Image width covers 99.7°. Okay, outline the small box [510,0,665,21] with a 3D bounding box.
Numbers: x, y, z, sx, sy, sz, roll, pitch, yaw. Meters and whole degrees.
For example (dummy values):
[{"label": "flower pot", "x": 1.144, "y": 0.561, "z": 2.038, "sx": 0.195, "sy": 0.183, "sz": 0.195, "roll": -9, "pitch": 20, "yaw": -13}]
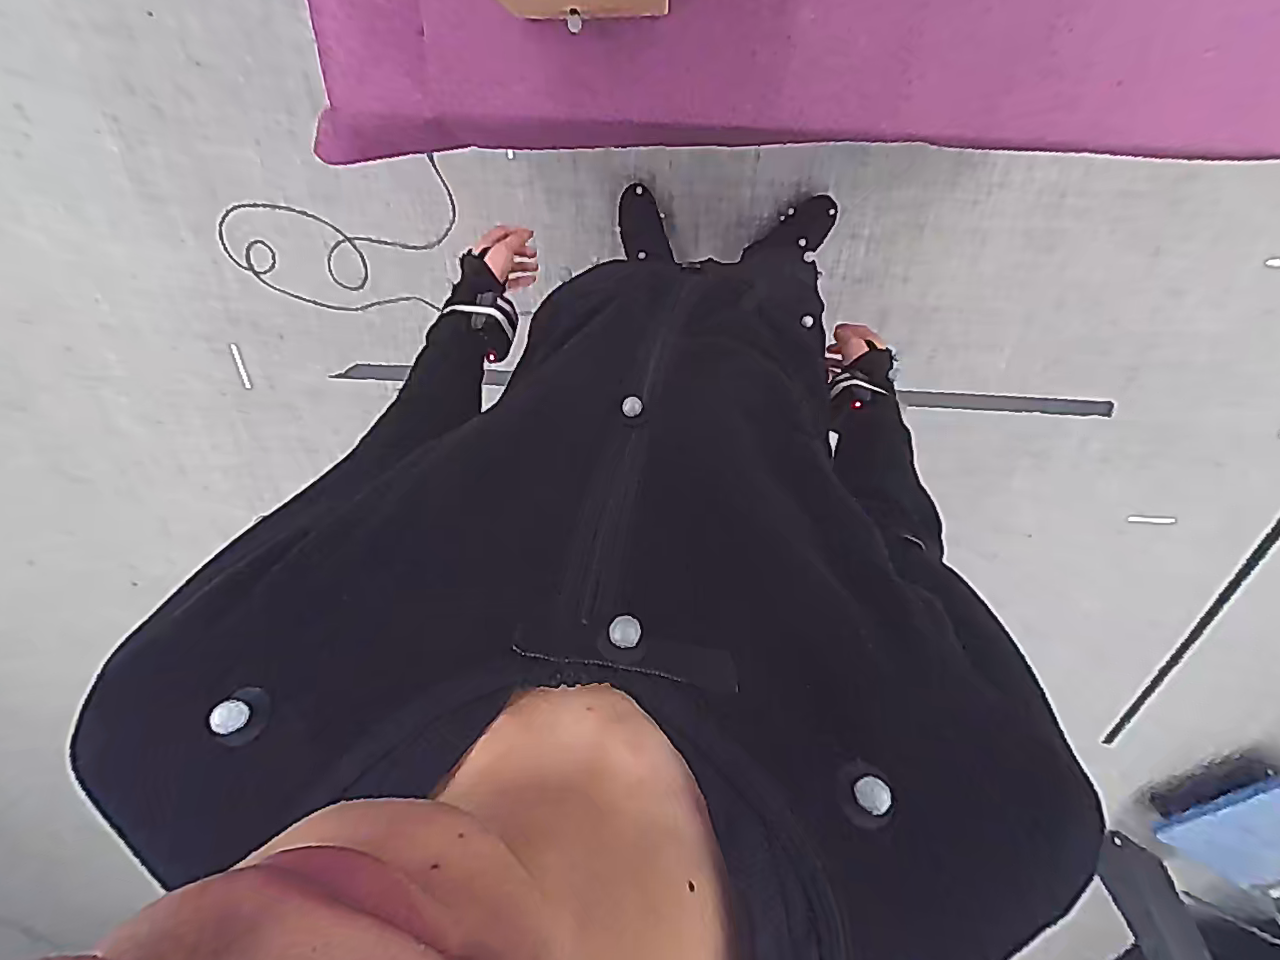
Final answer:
[{"label": "small box", "x": -0.057, "y": -0.541, "z": 0.483, "sx": 0.168, "sy": 0.176, "sz": 0.179, "roll": 1, "pitch": 122, "yaw": 2}]
